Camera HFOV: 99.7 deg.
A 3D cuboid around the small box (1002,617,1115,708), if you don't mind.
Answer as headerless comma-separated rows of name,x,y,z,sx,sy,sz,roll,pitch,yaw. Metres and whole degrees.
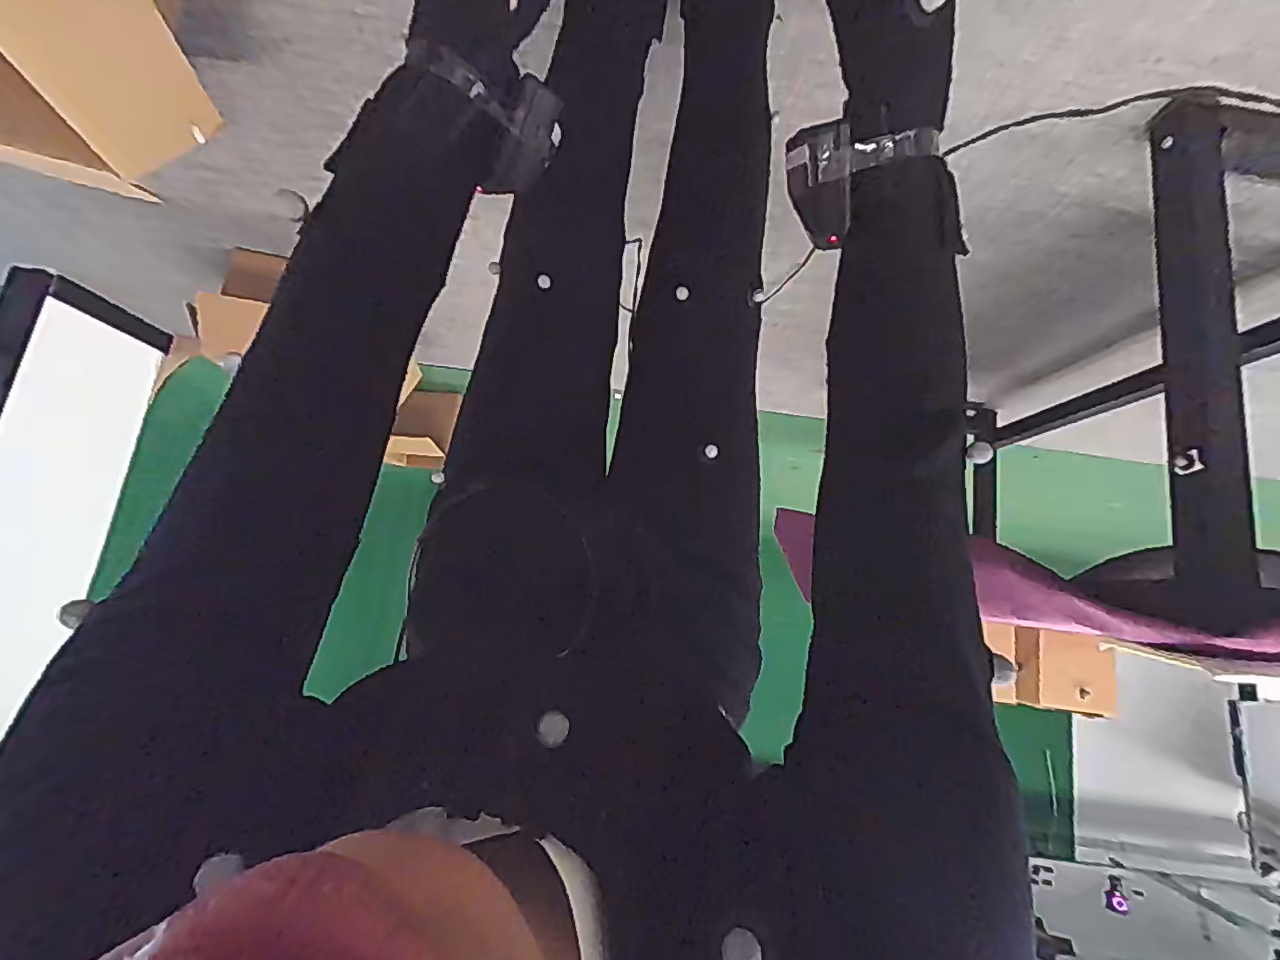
small box,0.934,0.410,1.241,0.179,0.176,0.168,7,169,-2
